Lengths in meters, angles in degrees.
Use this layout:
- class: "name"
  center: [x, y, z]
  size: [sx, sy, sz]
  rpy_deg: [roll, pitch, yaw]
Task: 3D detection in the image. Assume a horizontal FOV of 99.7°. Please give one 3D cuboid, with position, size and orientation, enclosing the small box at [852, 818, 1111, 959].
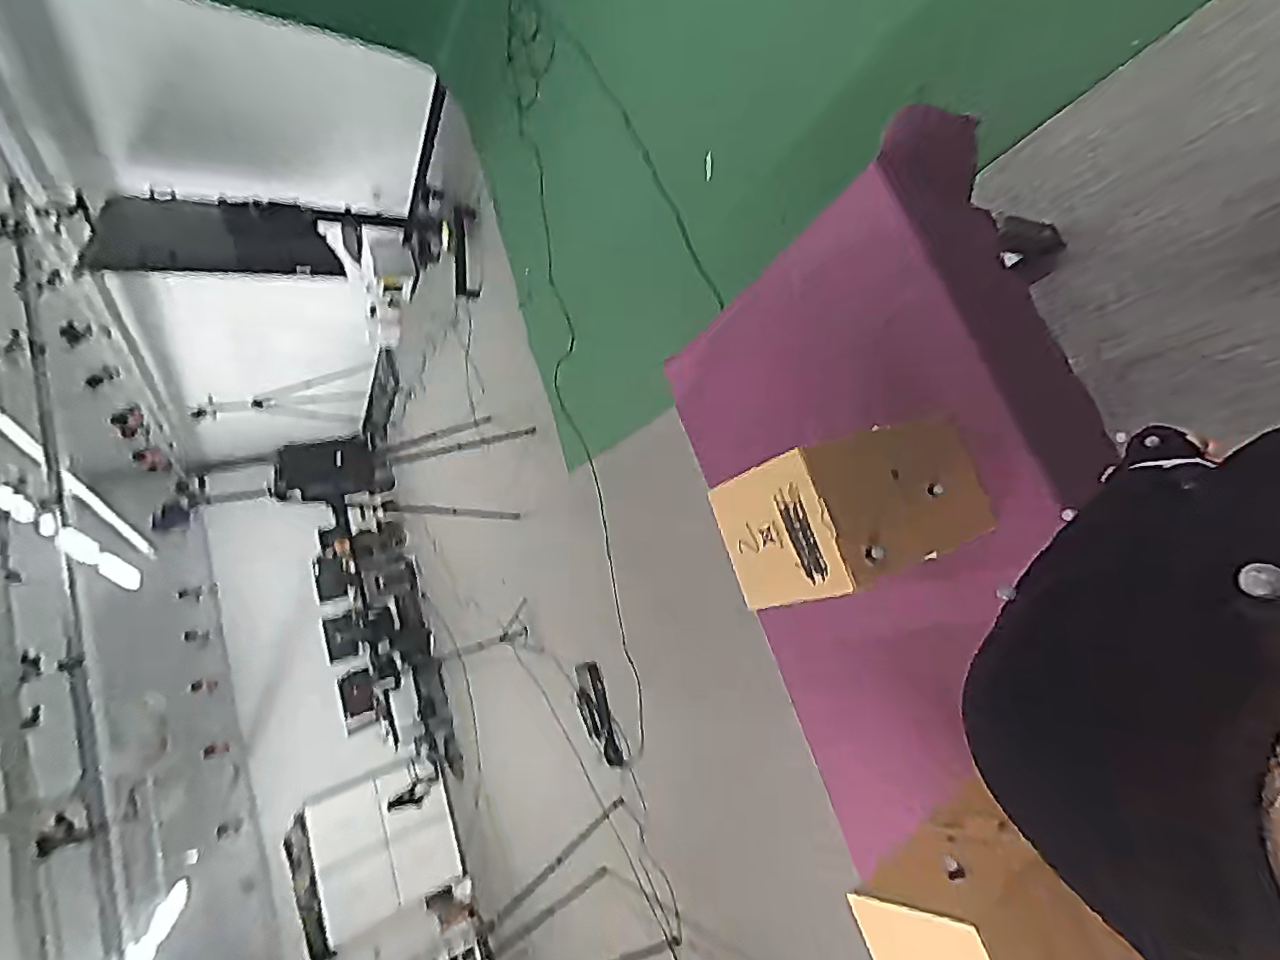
- class: "small box"
  center: [0.386, 0.514, 0.609]
  size: [0.168, 0.176, 0.179]
  rpy_deg: [-42, 66, 52]

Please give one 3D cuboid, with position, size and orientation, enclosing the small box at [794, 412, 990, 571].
- class: "small box"
  center: [0.363, 0.016, 0.782]
  size: [0.168, 0.176, 0.179]
  rpy_deg: [-30, 76, 54]
